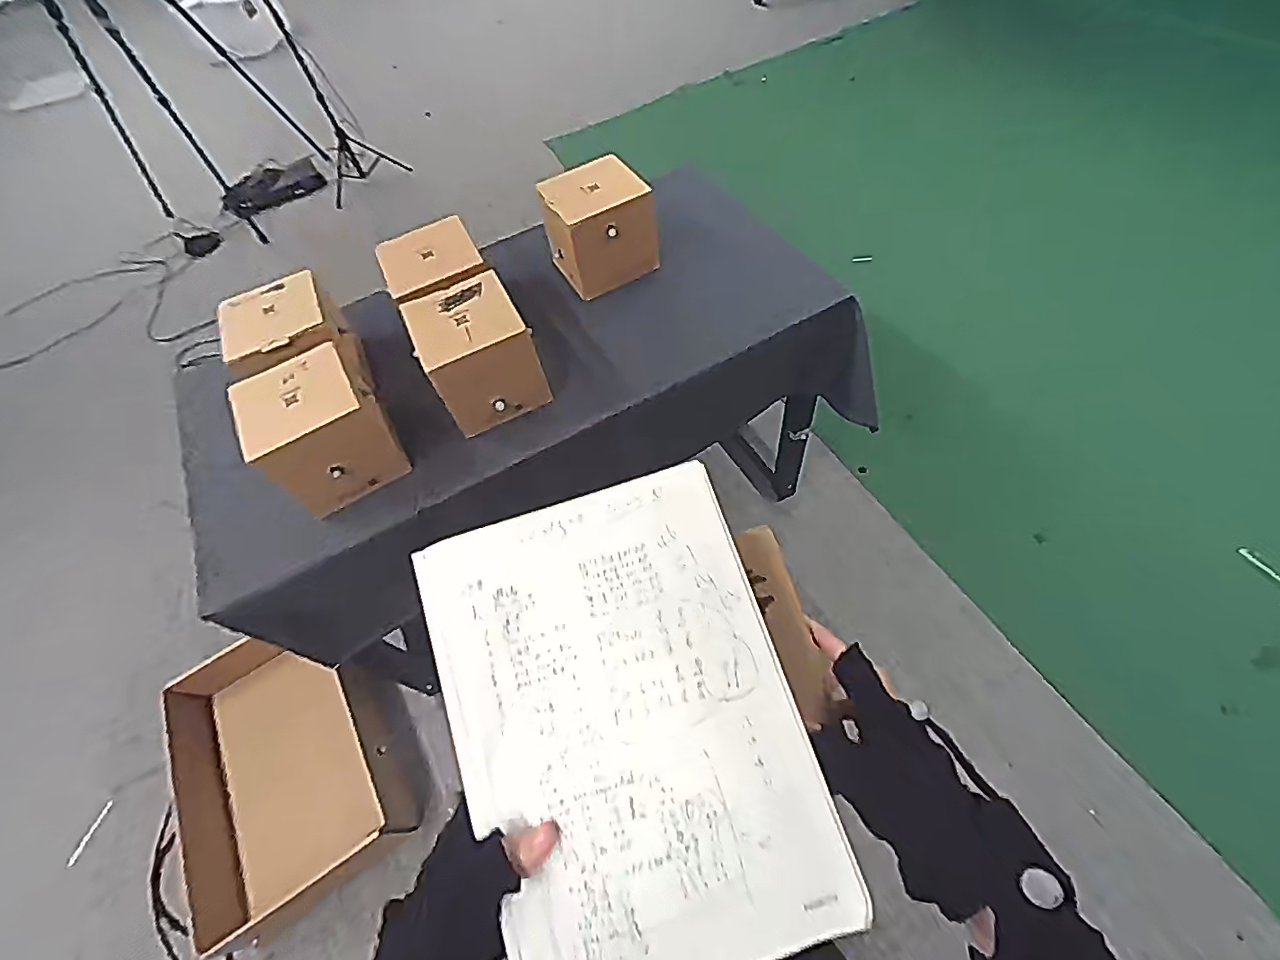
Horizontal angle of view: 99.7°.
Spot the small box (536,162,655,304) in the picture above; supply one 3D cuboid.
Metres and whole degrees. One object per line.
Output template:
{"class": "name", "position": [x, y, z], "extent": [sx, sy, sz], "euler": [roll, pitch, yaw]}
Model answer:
{"class": "small box", "position": [-0.080, -0.490, 1.082], "extent": [0.179, 0.176, 0.168], "euler": [-28, 58, -9]}
